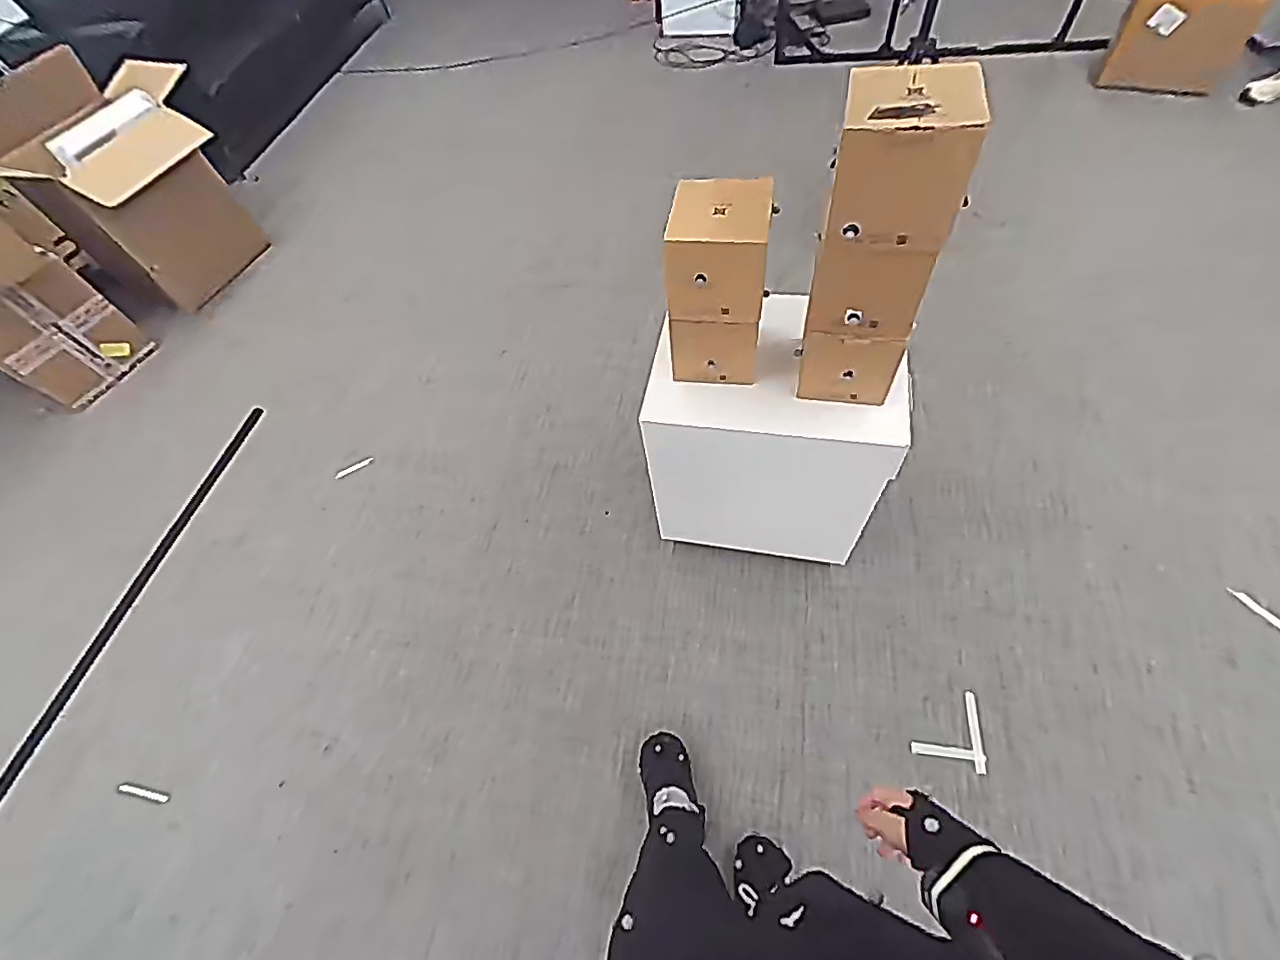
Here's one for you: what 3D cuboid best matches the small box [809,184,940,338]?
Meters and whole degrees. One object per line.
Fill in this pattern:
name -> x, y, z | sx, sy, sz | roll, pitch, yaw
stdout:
small box -> 0.380, -0.362, 0.898 | 0.168, 0.176, 0.179 | 7, 60, 14

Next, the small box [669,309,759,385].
small box -> 0.154, -0.318, 1.093 | 0.168, 0.176, 0.179 | 5, 60, 10

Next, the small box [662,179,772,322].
small box -> 0.139, -0.400, 0.954 | 0.168, 0.176, 0.179 | 6, 59, 11

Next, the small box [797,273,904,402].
small box -> 0.397, -0.268, 1.032 | 0.168, 0.176, 0.179 | 7, 61, 13

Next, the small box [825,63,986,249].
small box -> 0.360, -0.447, 0.759 | 0.168, 0.176, 0.179 | 8, 58, 14
